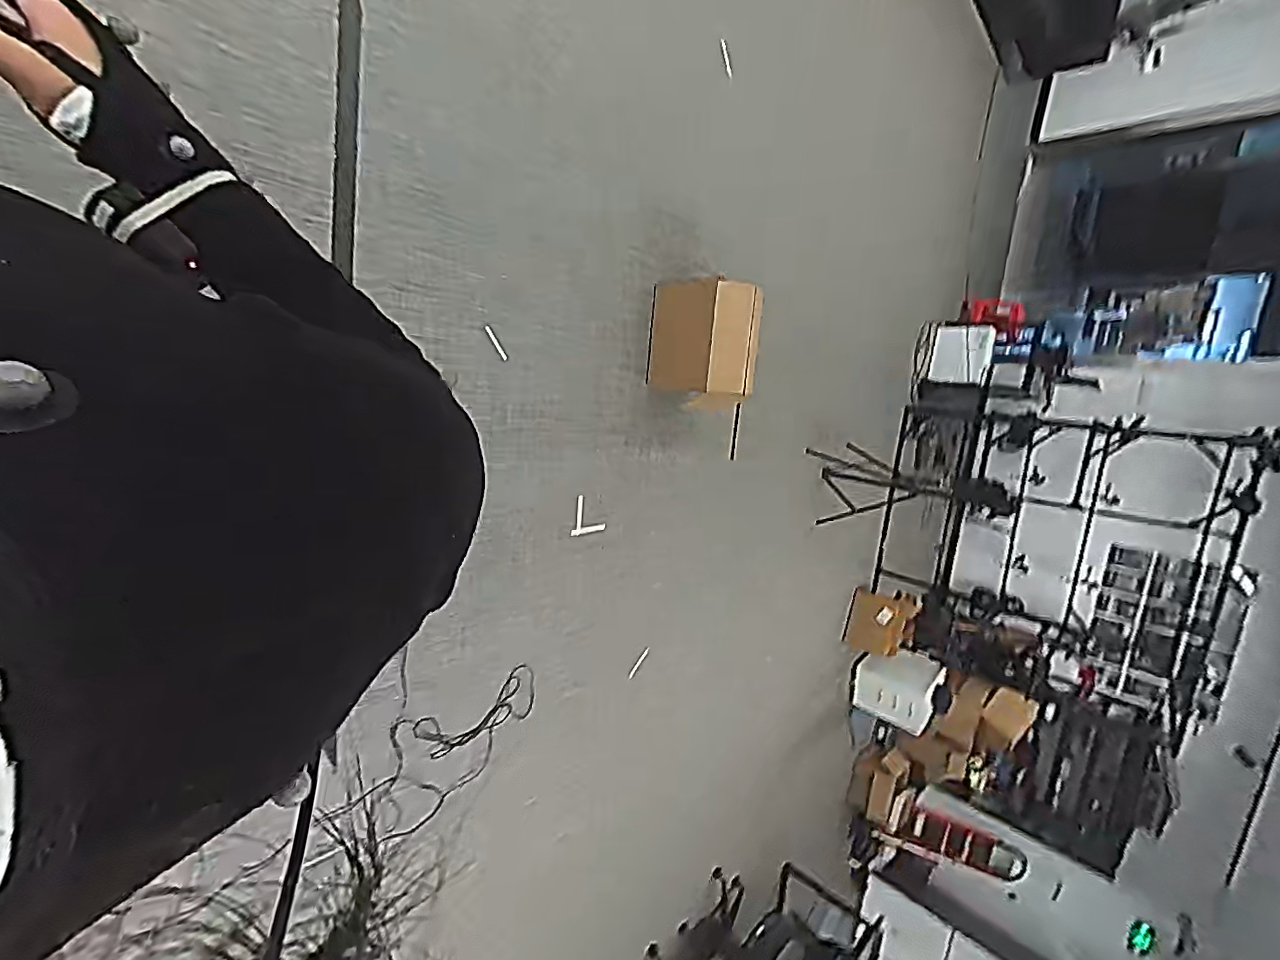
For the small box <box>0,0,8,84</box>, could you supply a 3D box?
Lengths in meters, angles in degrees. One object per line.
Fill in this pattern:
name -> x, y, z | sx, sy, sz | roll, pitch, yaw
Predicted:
small box -> -0.482, -0.349, 0.292 | 0.168, 0.176, 0.179 | -14, 115, -48
